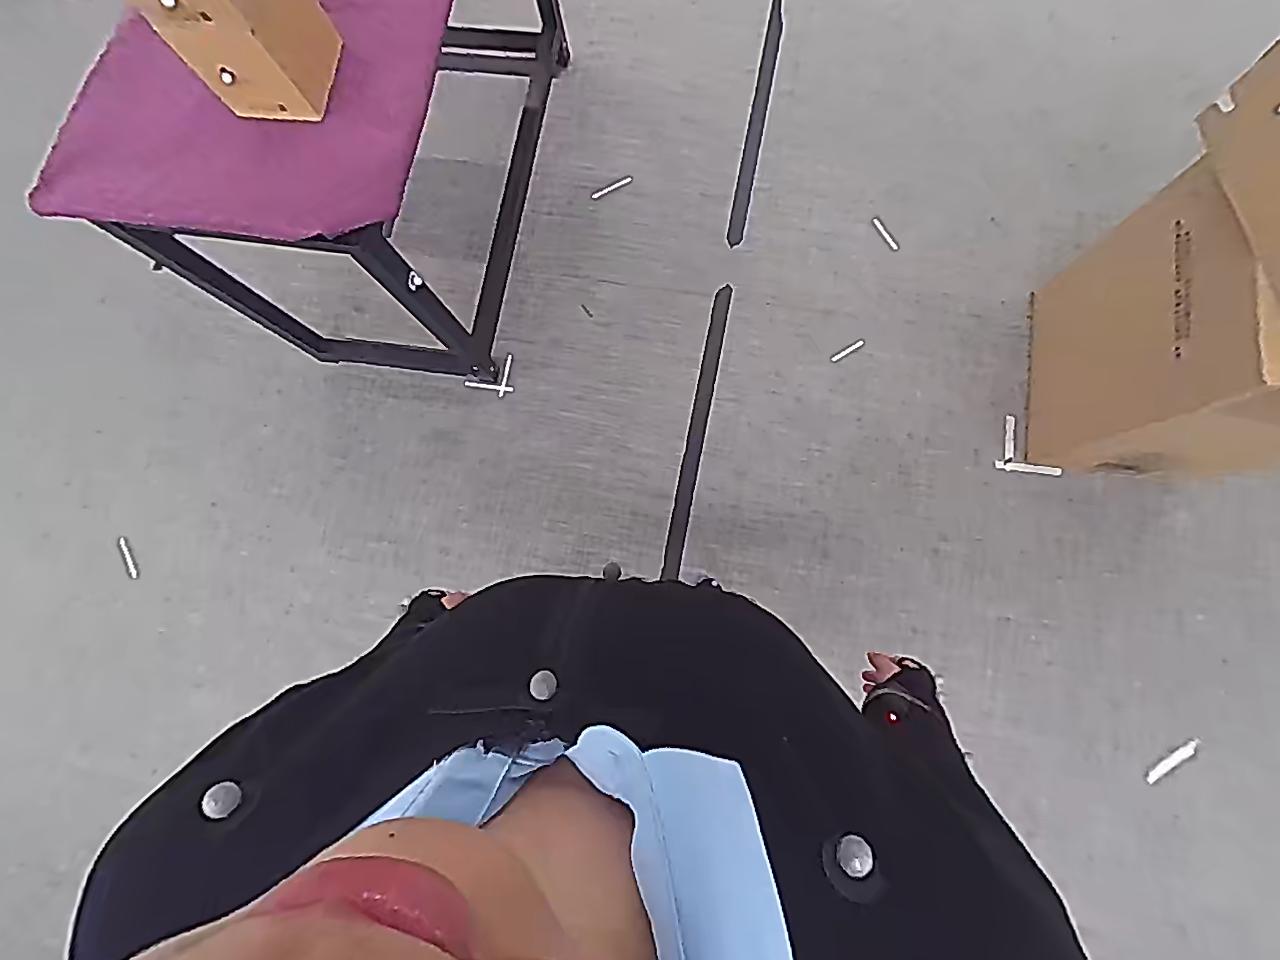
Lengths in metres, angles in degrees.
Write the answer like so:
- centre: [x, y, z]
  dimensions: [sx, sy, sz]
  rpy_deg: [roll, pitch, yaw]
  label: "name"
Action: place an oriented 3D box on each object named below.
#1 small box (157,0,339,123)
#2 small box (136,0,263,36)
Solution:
- centre: [-0.645, -0.743, 0.914]
  dimensions: [0.168, 0.176, 0.179]
  rpy_deg: [6, 80, 5]
  label: "small box"
- centre: [-0.651, -0.774, 0.752]
  dimensions: [0.168, 0.176, 0.179]
  rpy_deg: [6, 80, 5]
  label: "small box"
